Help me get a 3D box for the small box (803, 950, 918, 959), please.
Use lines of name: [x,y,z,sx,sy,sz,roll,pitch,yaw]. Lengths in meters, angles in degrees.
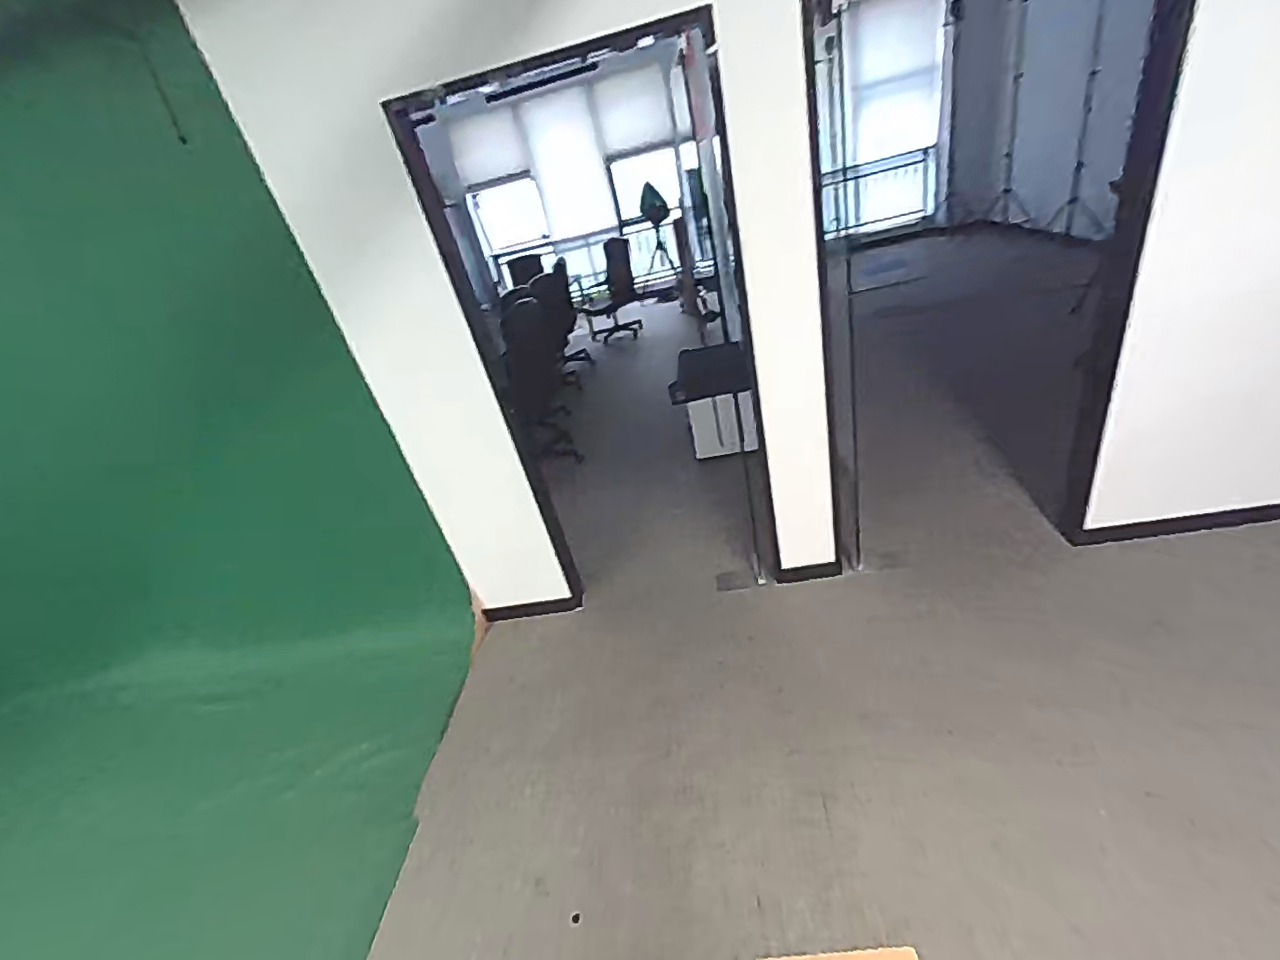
small box: [0.216,0.601,0.512,0.168,0.176,0.179,-11,23,5]
